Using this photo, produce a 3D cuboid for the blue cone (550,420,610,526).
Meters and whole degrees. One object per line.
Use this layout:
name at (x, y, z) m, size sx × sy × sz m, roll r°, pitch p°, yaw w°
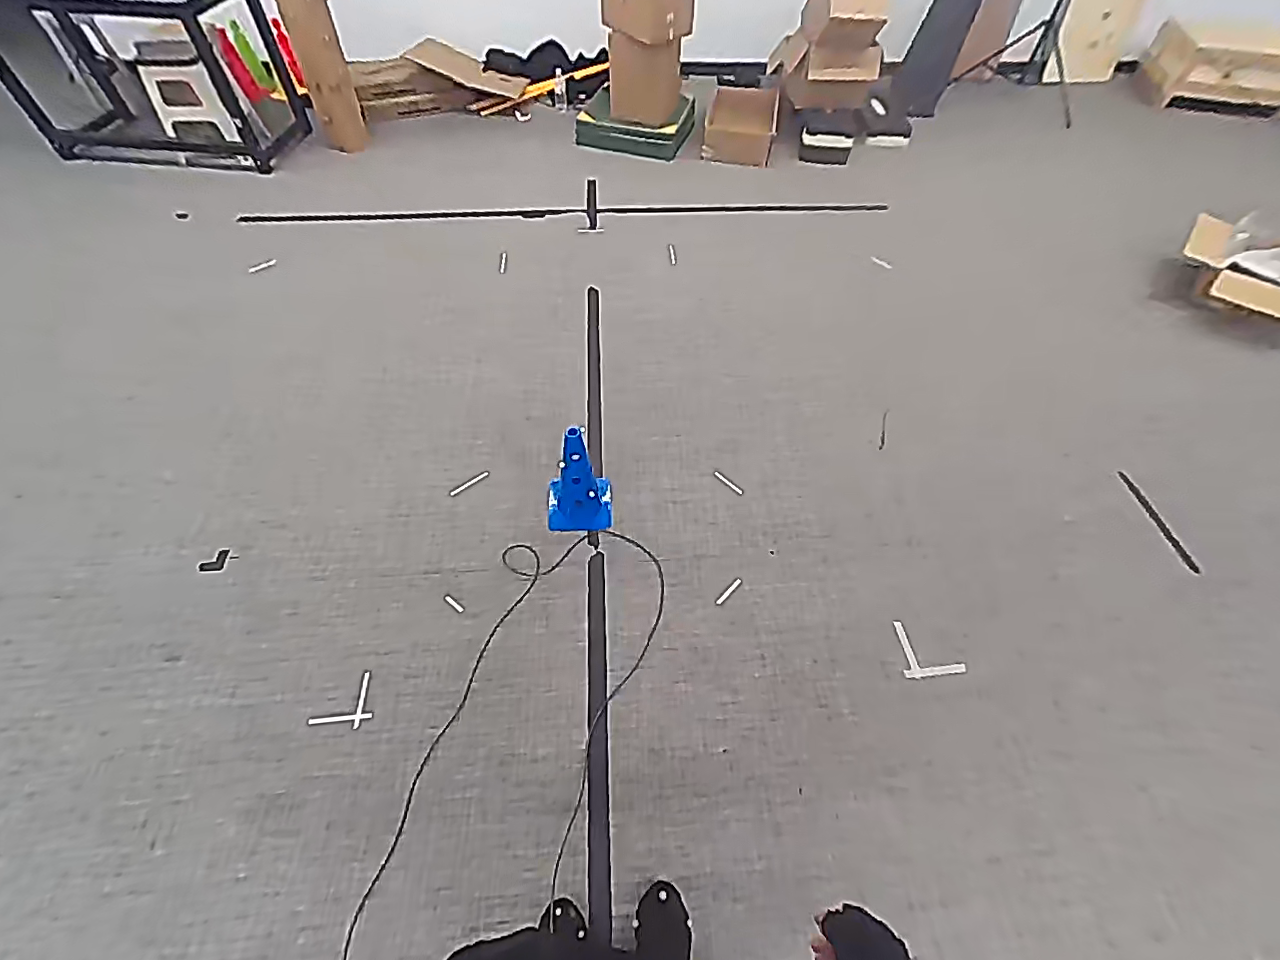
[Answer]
blue cone at (-0.189, -0.032, 1.592) m, size 0.193 × 0.380 × 0.192 m, roll -3°, pitch 55°, yaw -4°
